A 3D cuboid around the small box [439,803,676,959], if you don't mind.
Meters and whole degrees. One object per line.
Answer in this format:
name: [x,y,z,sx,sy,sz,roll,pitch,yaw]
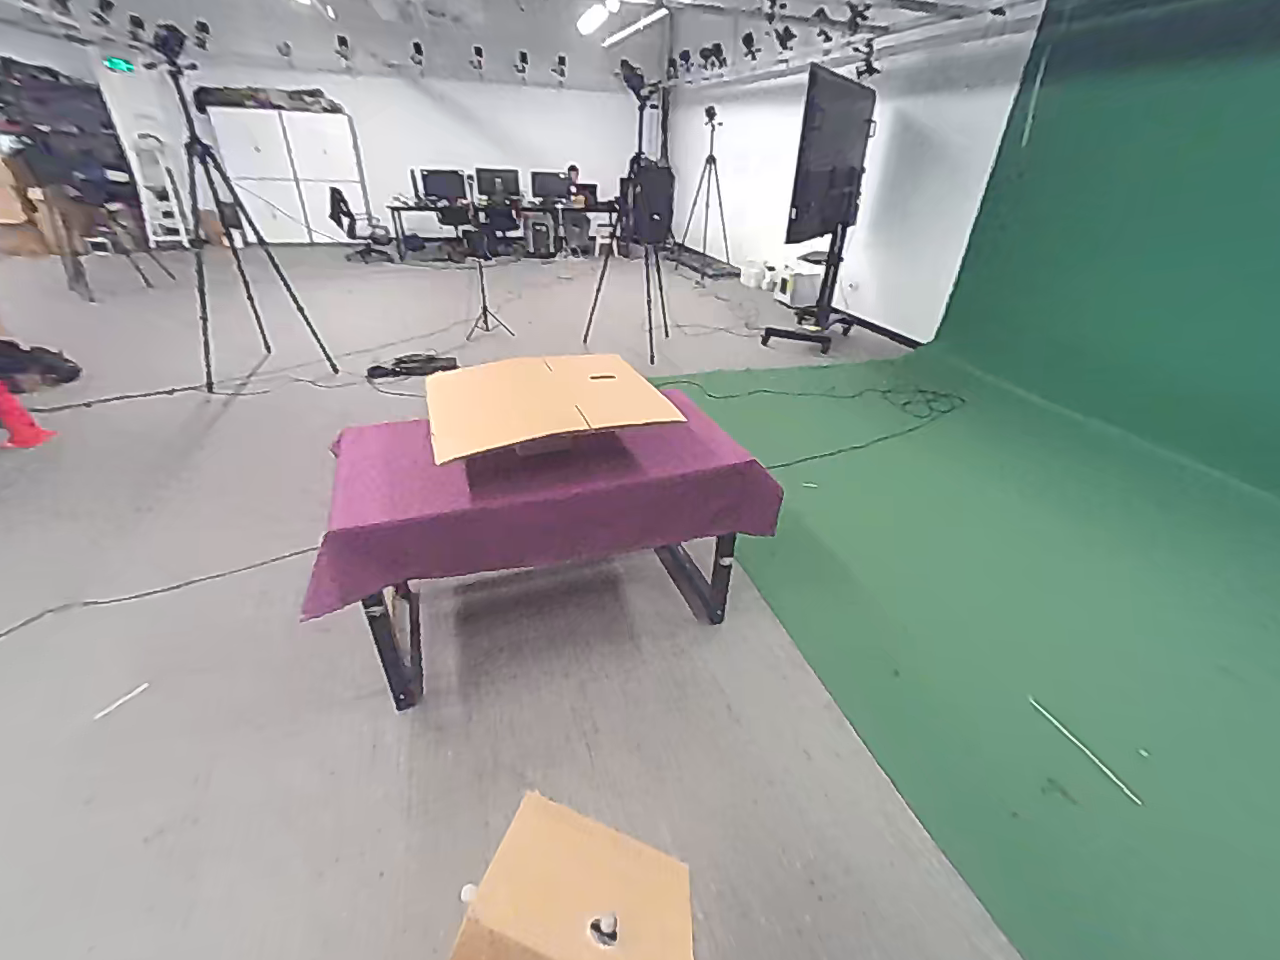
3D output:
small box: [-0.075,0.415,0.452,0.179,0.168,0.176,22,-1,4]
